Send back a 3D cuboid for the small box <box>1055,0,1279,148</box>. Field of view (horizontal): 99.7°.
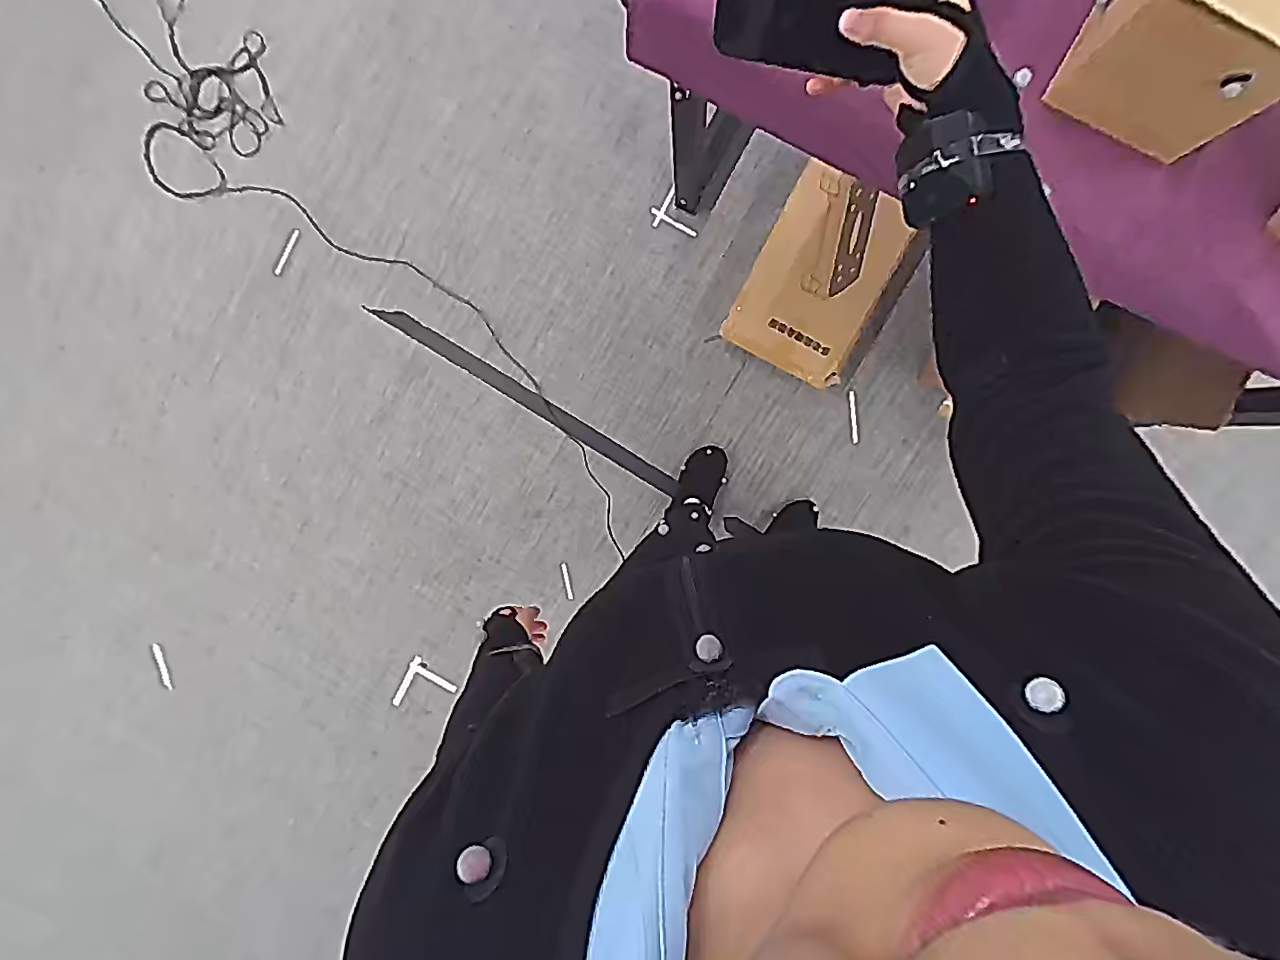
[{"bbox_3d":[0.609,-0.495,0.572,0.179,0.176,0.168,28,95,2],"label":"small box"}]
